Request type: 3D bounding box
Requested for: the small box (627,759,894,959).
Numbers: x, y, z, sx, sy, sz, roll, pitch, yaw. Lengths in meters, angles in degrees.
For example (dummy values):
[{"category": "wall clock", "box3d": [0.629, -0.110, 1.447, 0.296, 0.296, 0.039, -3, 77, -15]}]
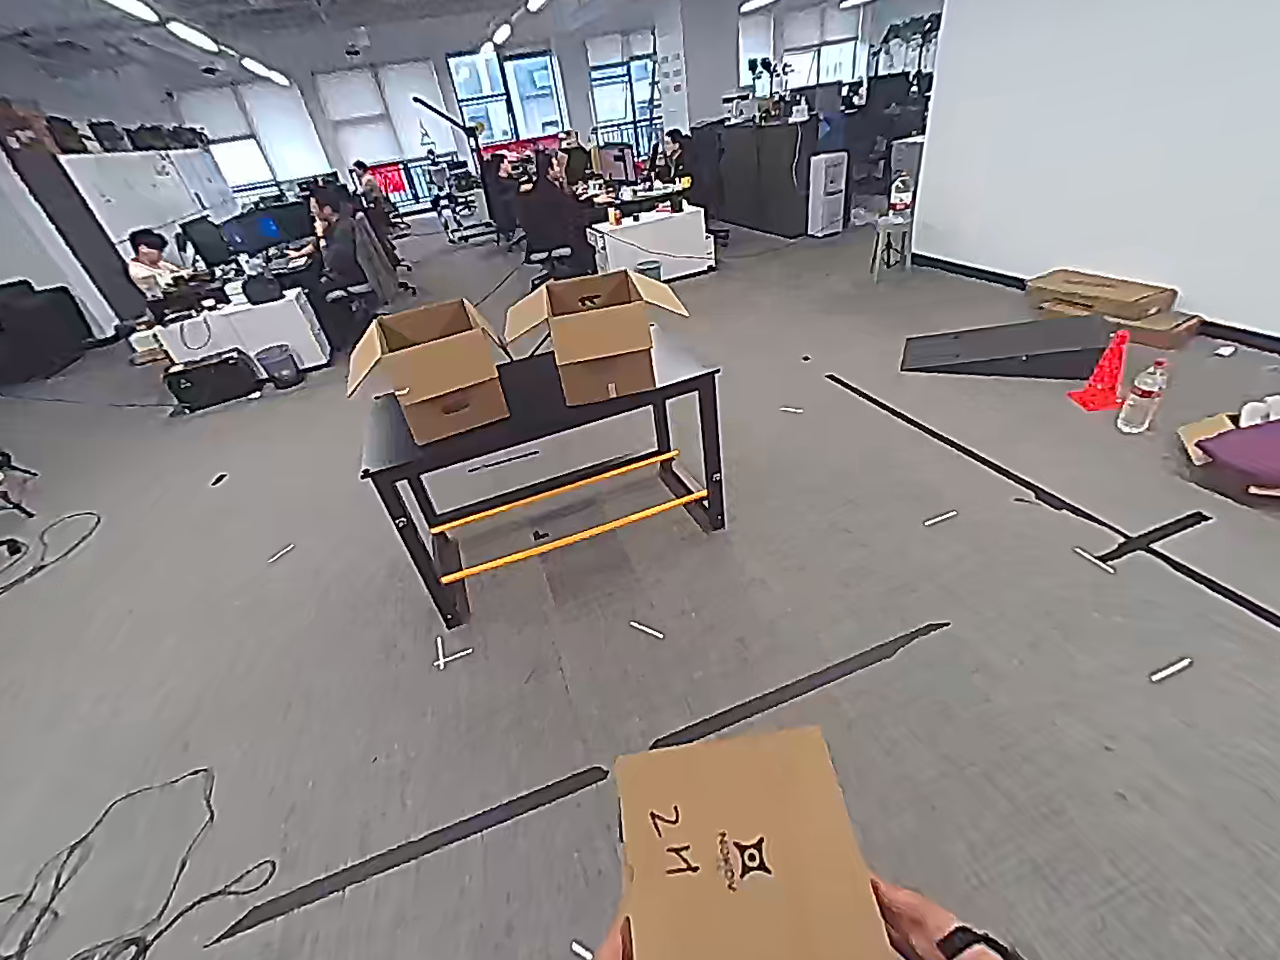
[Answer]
[{"category": "small box", "box3d": [0.089, 0.355, 0.456, 0.179, 0.176, 0.168, -9, 48, 1]}]
